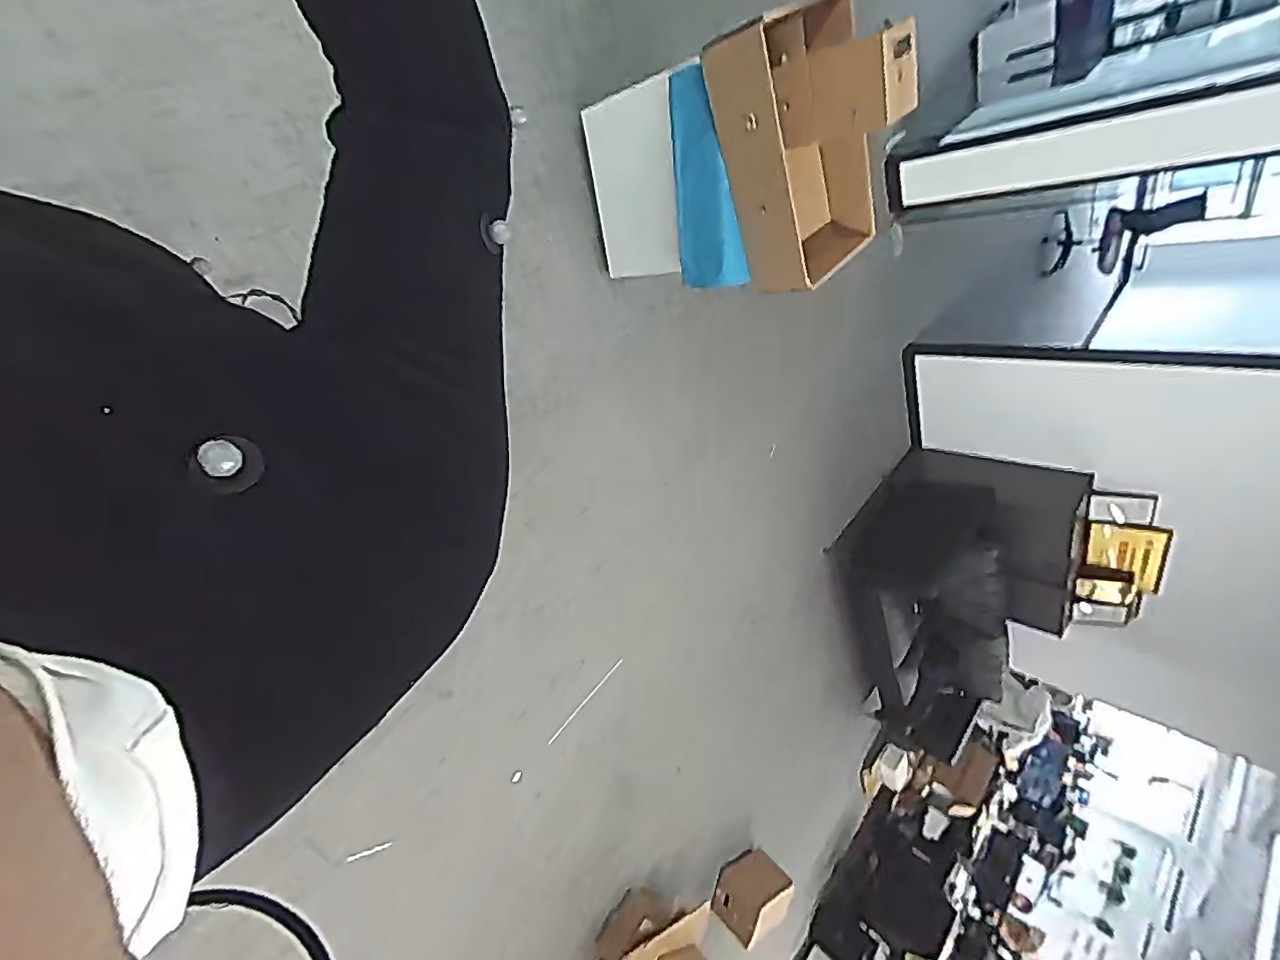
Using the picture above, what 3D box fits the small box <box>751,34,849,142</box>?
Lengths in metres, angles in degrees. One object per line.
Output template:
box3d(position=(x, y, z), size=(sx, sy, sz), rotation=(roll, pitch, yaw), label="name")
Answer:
box3d(position=(0.400, -0.970, 1.352), size=(0.168, 0.176, 0.179), rotation=(-42, 130, -28), label="small box")
